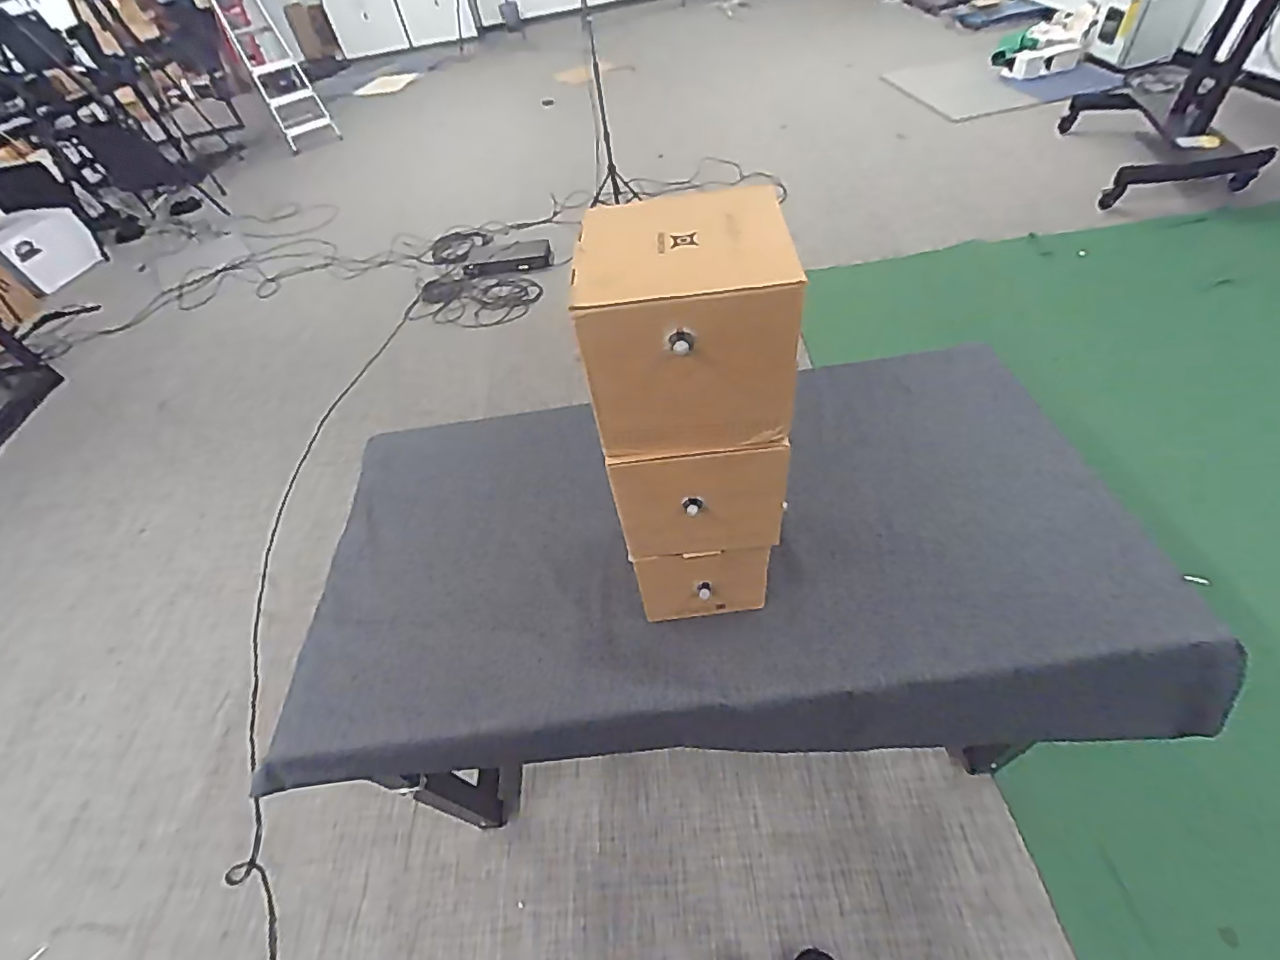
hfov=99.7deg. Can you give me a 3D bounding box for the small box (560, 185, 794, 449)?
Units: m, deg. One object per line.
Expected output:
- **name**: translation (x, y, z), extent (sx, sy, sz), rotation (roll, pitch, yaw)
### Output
- **small box**: translation (0.037, -0.144, 0.504), extent (0.179, 0.176, 0.168), rotation (-6, 50, 6)

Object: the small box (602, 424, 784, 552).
- **small box**: translation (0.059, -0.034, 0.622), extent (0.179, 0.176, 0.168), rotation (-8, 49, 6)

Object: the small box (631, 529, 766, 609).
- **small box**: translation (0.076, 0.065, 0.752), extent (0.168, 0.176, 0.179), rotation (-9, 50, 3)
